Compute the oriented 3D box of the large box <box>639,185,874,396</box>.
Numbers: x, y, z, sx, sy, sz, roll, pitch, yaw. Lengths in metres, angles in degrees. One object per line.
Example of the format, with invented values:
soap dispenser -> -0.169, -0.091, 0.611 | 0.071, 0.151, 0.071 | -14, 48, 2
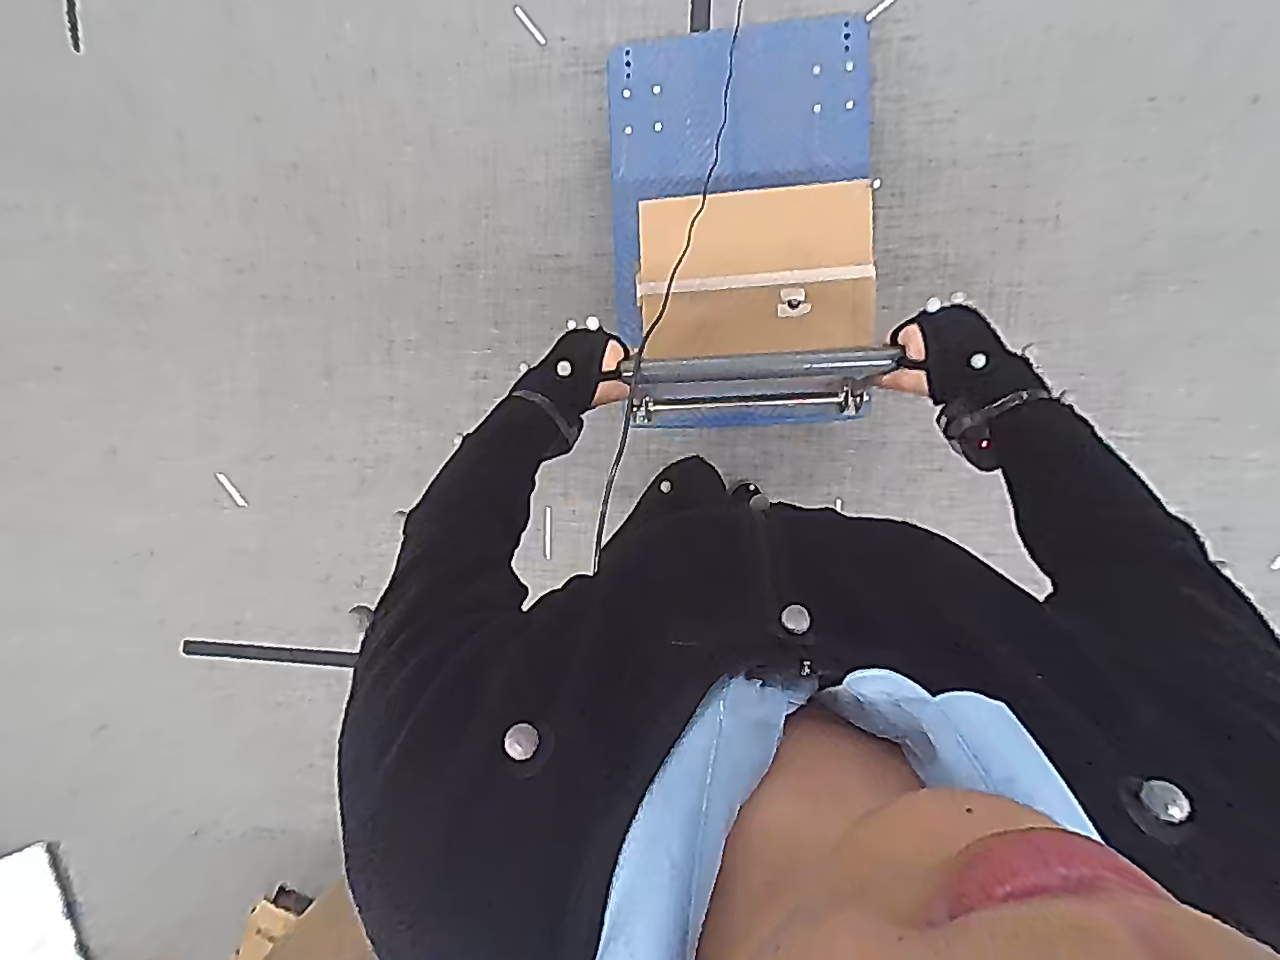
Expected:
large box -> 0.219, -0.351, 1.101 | 0.408, 0.320, 0.320 | -2, 94, 7
